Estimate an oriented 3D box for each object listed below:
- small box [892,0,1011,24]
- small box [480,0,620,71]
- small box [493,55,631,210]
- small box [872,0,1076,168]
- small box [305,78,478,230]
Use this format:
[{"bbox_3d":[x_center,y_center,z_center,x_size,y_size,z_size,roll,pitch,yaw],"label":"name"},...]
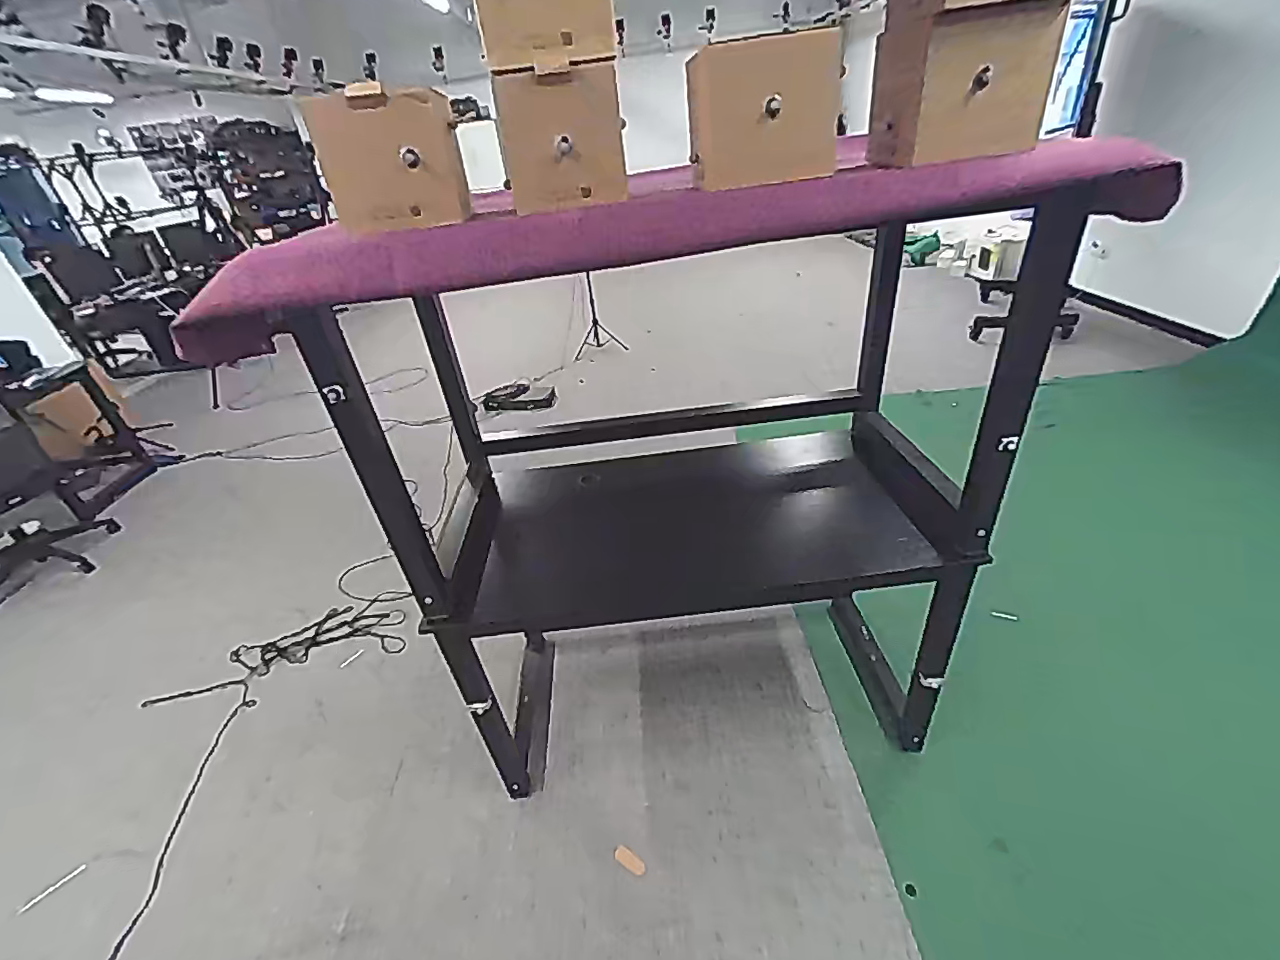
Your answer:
[{"bbox_3d":[0.435,-0.681,0.660,0.179,0.176,0.168,-7,33,1],"label":"small box"},{"bbox_3d":[-0.124,-0.641,0.712,0.168,0.176,0.179,-10,31,-4],"label":"small box"},{"bbox_3d":[-0.108,-0.506,0.803,0.168,0.176,0.179,-8,33,-3],"label":"small box"},{"bbox_3d":[0.451,-0.556,0.767,0.179,0.176,0.168,-8,33,2],"label":"small box"},{"bbox_3d":[-0.347,-0.472,0.797,0.168,0.176,0.179,-9,32,-4],"label":"small box"}]
